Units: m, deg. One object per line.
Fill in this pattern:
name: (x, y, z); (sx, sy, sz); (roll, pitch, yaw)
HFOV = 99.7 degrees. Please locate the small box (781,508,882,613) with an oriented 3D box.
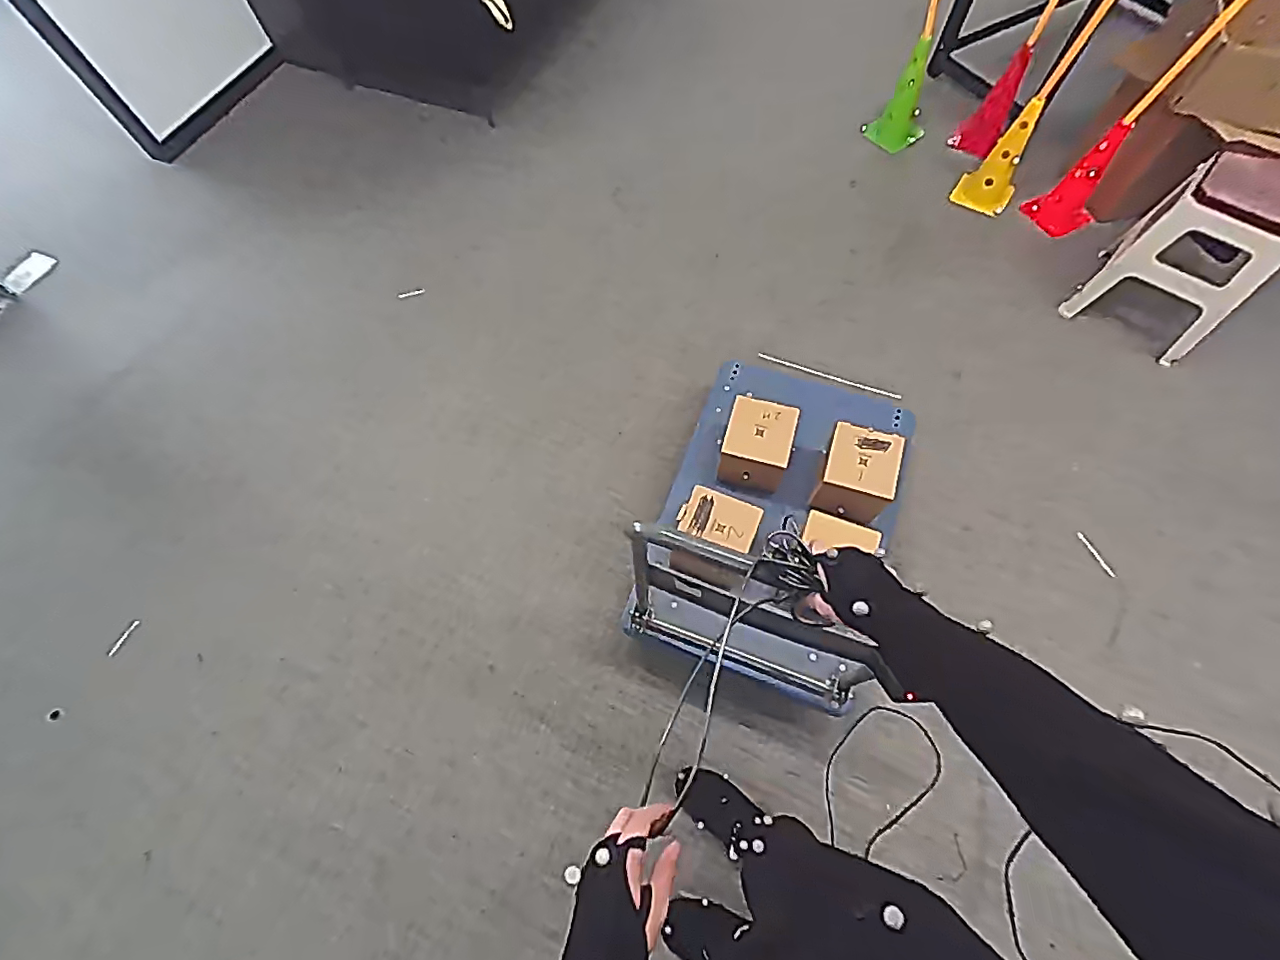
small box: (0.448, 0.195, 1.286); (0.168, 0.176, 0.179); (20, 70, 12)

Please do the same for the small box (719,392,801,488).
small box: (0.310, -0.099, 1.422); (0.168, 0.176, 0.179); (16, 68, 9)

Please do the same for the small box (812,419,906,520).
small box: (0.550, -0.023, 1.375); (0.168, 0.176, 0.179); (17, 69, 11)
